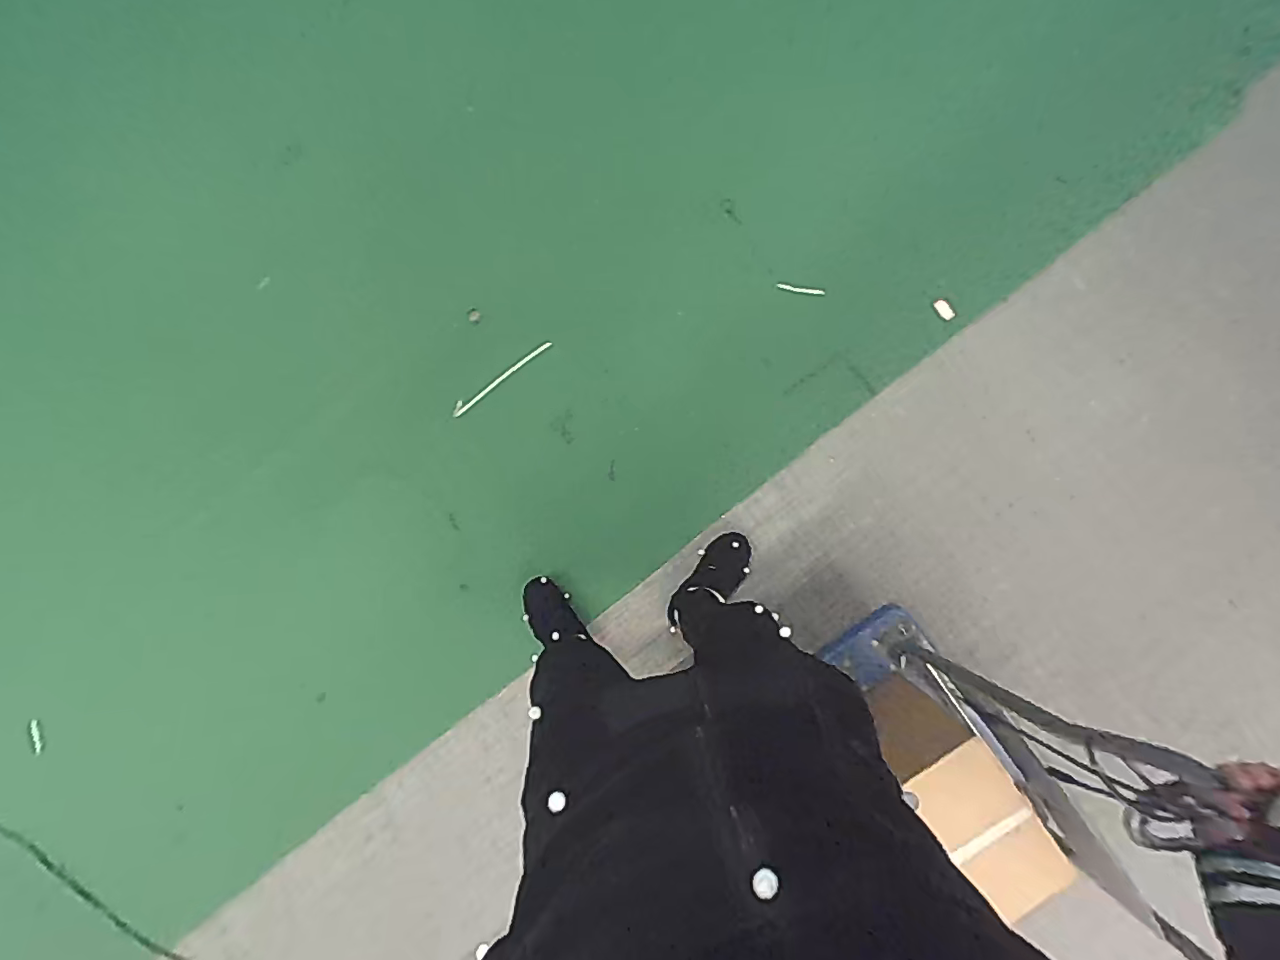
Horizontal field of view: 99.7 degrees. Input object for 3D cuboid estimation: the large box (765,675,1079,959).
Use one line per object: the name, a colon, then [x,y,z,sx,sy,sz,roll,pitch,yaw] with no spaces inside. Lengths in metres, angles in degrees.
large box: [0.528,0.681,1.097,0.408,0.320,0.320,-35,90,2]
